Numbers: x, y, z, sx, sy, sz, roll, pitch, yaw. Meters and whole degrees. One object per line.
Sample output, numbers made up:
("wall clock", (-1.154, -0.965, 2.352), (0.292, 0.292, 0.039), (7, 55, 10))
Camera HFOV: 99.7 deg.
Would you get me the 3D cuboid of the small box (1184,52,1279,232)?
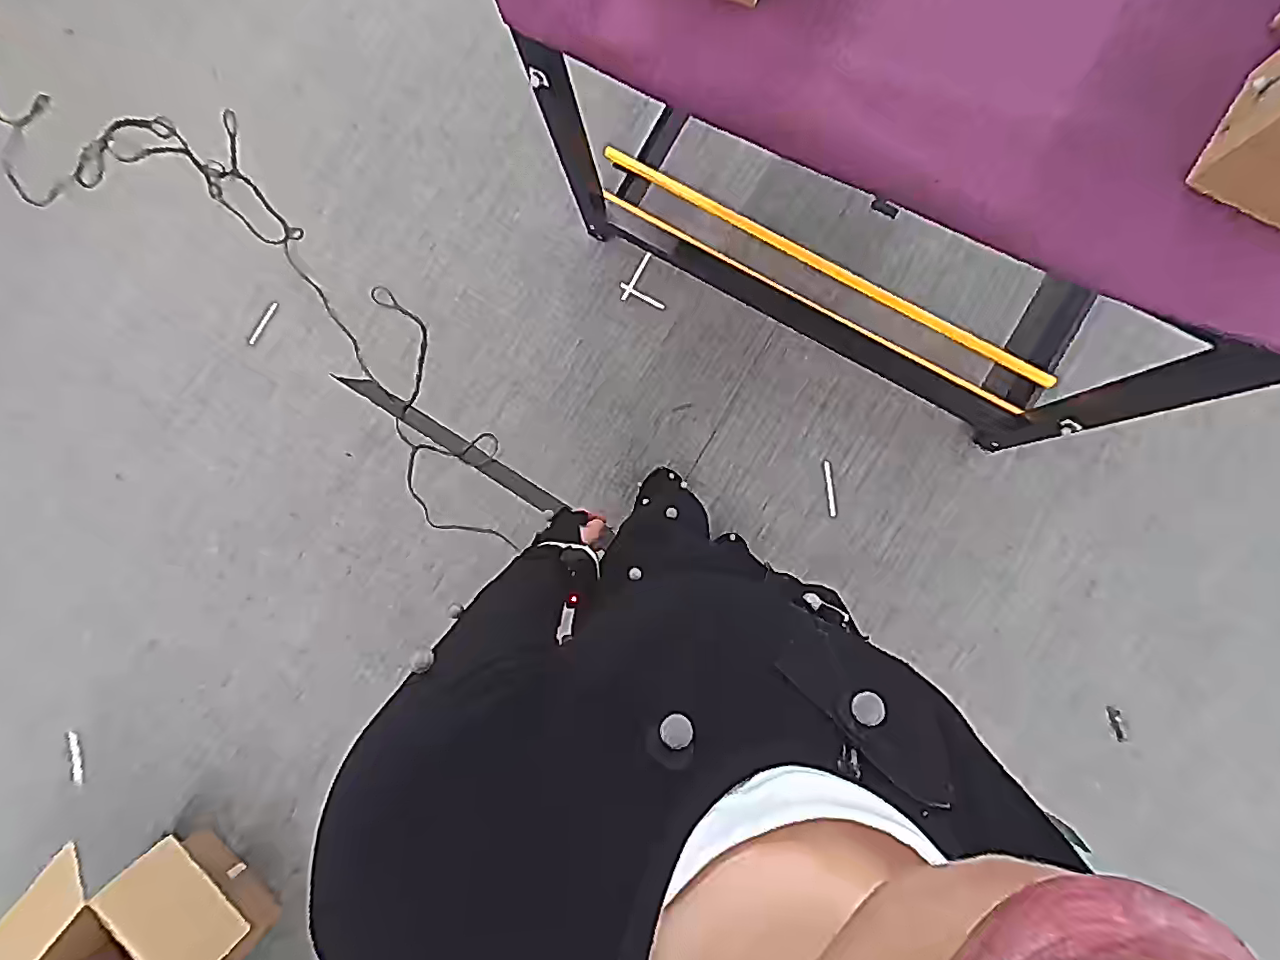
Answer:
("small box", (0.738, -0.376, 0.544), (0.179, 0.176, 0.168), (33, 88, 7))
